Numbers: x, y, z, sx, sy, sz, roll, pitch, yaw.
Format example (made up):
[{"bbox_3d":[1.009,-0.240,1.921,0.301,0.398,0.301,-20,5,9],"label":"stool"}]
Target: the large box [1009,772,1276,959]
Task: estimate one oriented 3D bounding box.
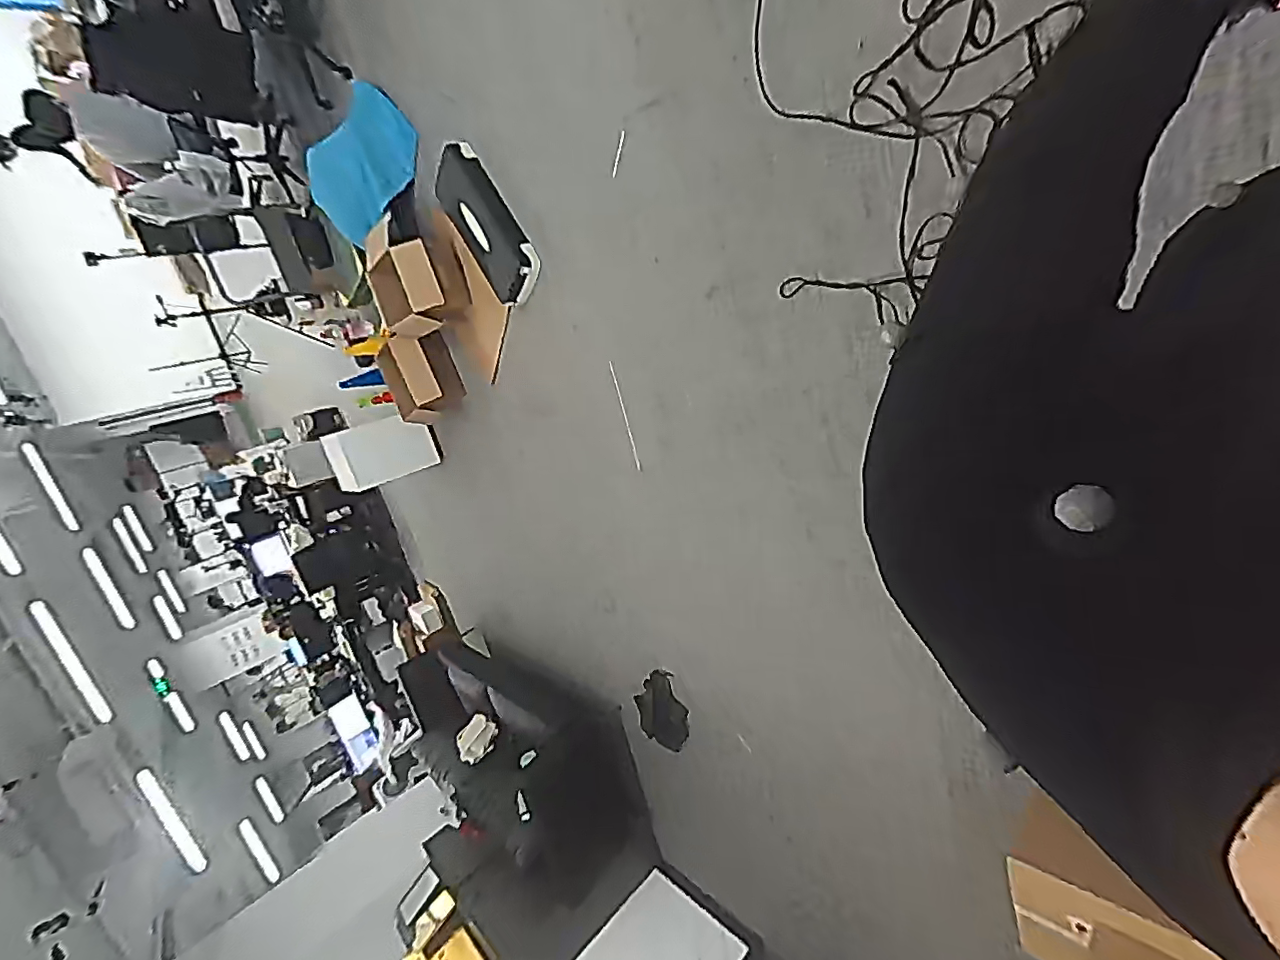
[{"bbox_3d":[1.152,0.973,1.251,0.408,0.320,0.320,0,110,52],"label":"large box"}]
